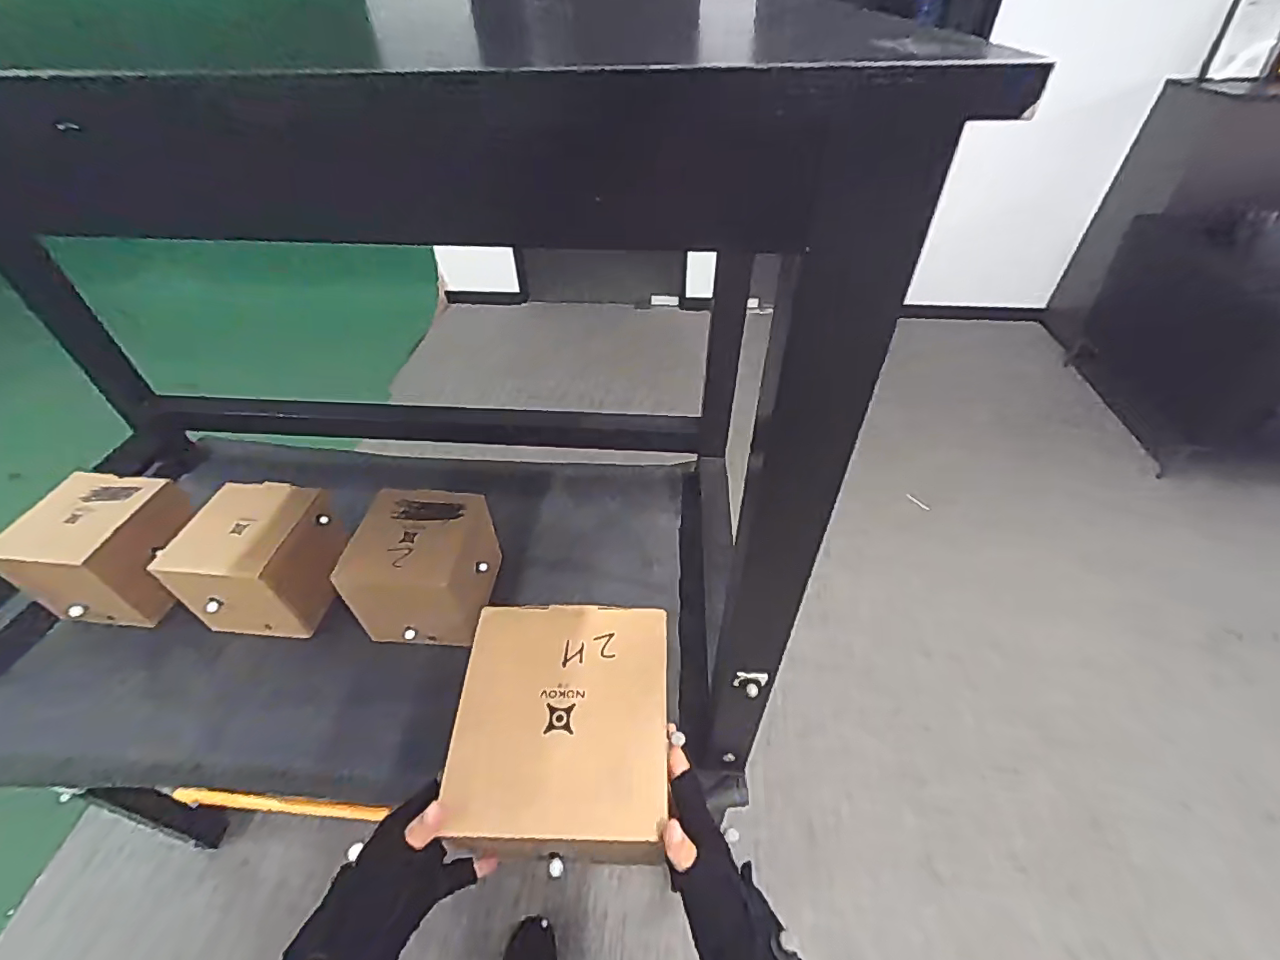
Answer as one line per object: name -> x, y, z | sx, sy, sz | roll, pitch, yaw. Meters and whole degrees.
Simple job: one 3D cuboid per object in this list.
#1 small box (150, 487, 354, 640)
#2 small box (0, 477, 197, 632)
small box -> -0.590, 0.134, 0.856 | 0.168, 0.176, 0.179 | 4, 43, 4
small box -> -0.842, 0.118, 0.870 | 0.168, 0.176, 0.179 | 4, 44, 4
